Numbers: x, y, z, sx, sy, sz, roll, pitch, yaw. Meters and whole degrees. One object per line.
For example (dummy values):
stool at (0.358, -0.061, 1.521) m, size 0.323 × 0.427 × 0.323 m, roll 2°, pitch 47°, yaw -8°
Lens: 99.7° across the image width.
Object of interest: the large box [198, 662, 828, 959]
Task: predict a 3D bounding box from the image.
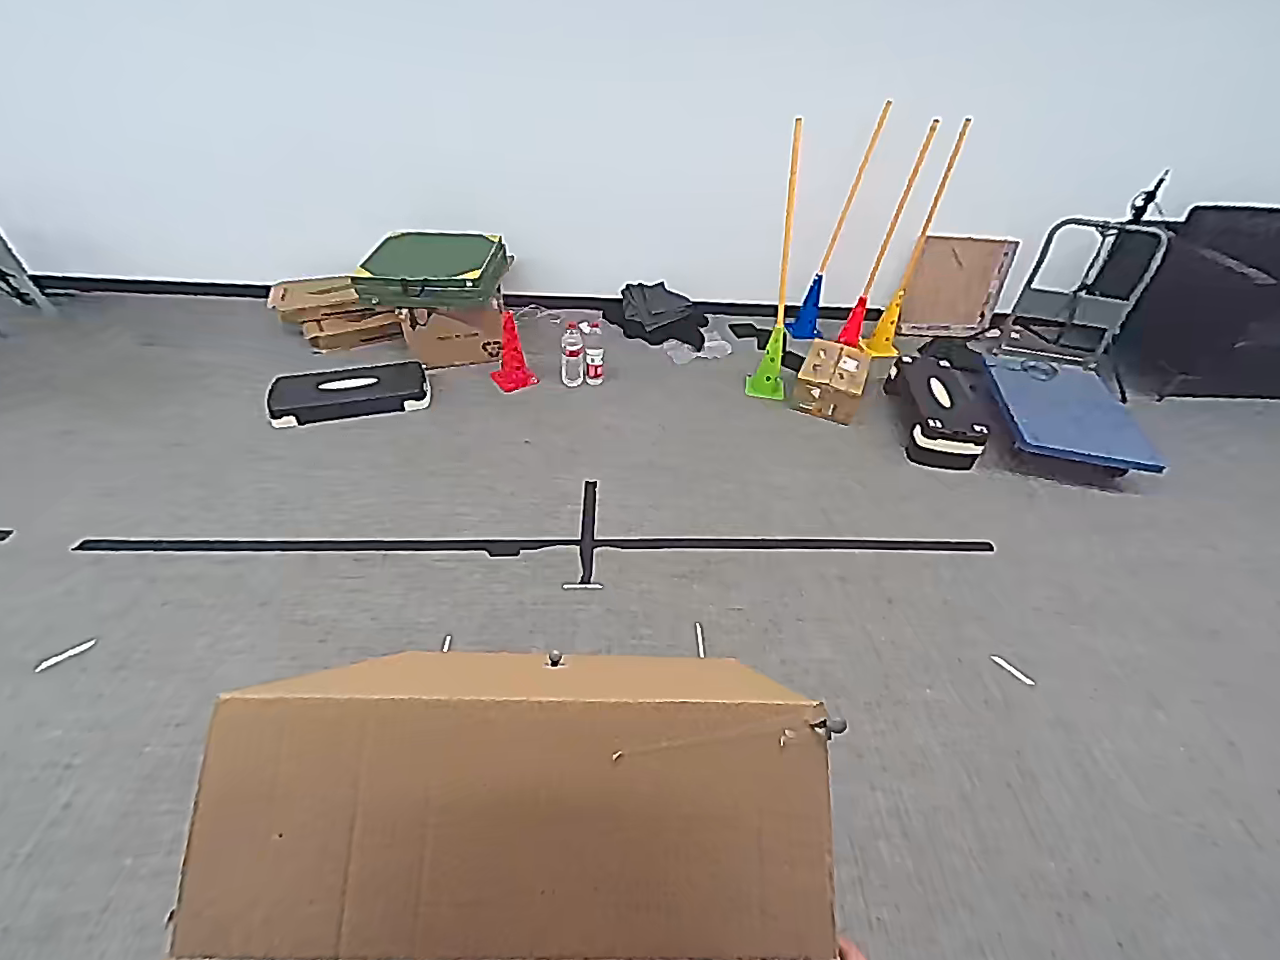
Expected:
large box at (-0.084, 0.337, 0.484) m, size 0.408 × 0.320 × 0.320 m, roll 1°, pitch 78°, yaw -2°
